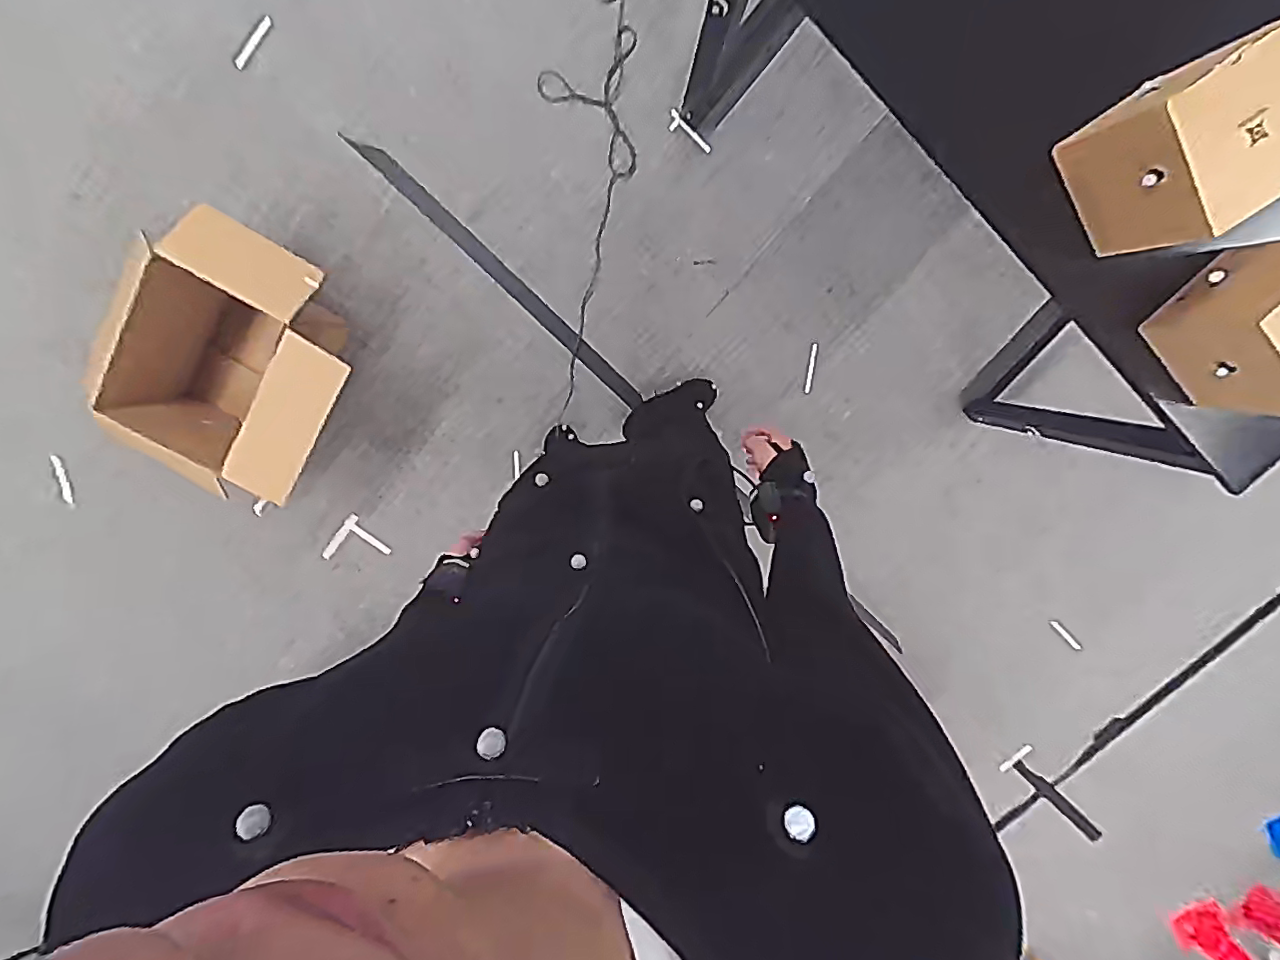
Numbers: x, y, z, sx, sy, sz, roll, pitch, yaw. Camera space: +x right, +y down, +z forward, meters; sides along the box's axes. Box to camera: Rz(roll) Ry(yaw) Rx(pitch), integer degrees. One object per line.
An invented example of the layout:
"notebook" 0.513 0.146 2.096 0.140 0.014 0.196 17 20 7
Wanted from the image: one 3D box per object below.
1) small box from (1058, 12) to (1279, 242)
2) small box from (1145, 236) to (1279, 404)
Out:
"small box" 0.694 -0.428 0.686 0.168 0.176 0.179 -35 102 6
"small box" 0.876 -0.221 0.743 0.179 0.176 0.168 43 99 -10
